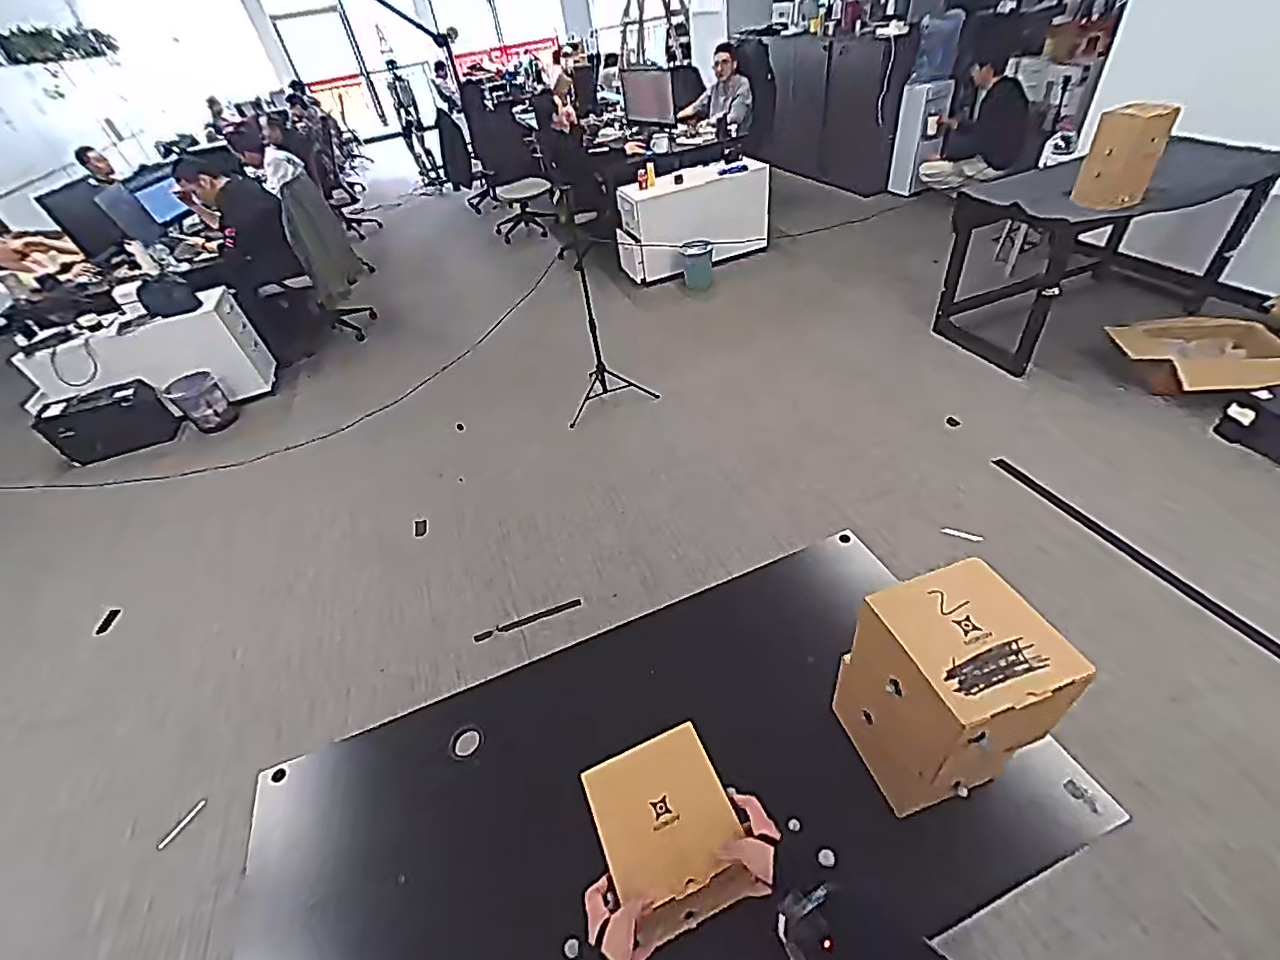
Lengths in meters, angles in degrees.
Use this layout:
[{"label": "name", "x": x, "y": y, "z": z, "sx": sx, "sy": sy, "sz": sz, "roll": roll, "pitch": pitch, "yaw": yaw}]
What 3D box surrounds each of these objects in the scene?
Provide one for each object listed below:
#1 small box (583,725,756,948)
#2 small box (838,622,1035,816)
[{"label": "small box", "x": 0.038, "y": 0.472, "z": 0.720, "sx": 0.168, "sy": 0.176, "sz": 0.179, "roll": -21, "pitch": 43, "yaw": -12}, {"label": "small box", "x": 0.407, "y": 0.344, "z": 0.782, "sx": 0.168, "sy": 0.176, "sz": 0.179, "roll": -18, "pitch": 42, "yaw": -7}]
